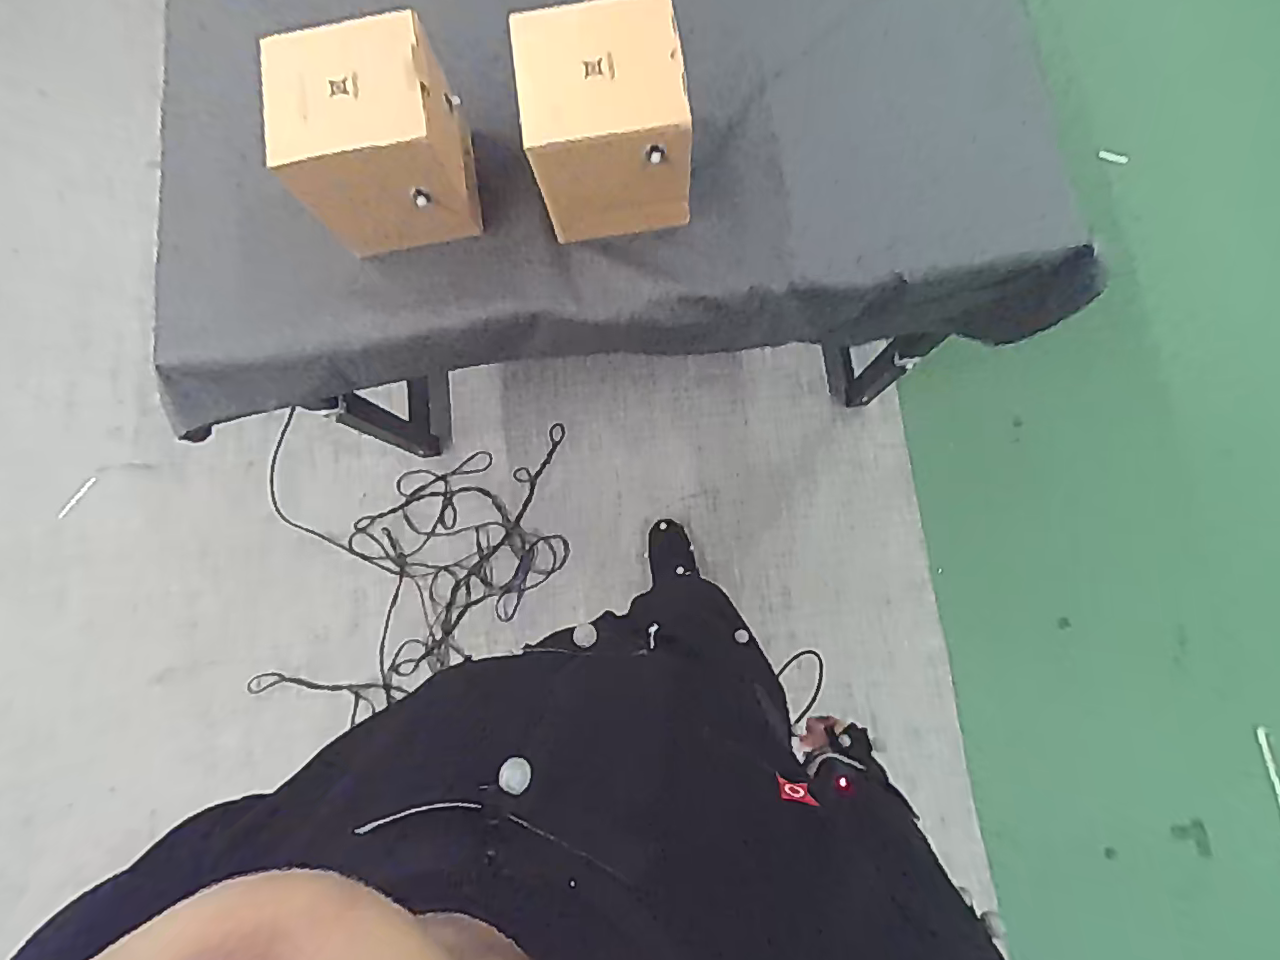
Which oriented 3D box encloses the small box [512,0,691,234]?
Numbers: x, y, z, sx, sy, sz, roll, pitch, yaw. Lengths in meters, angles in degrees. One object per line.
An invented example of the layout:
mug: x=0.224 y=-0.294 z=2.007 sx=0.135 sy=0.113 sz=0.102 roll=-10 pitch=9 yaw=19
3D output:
small box: x=-0.038 y=-0.418 z=0.641 sx=0.179 sy=0.176 sz=0.168 roll=-8 pitch=80 yaw=1

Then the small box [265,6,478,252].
small box: x=-0.307 y=-0.407 z=0.654 sx=0.179 sy=0.176 sz=0.168 roll=-11 pitch=79 yaw=3
